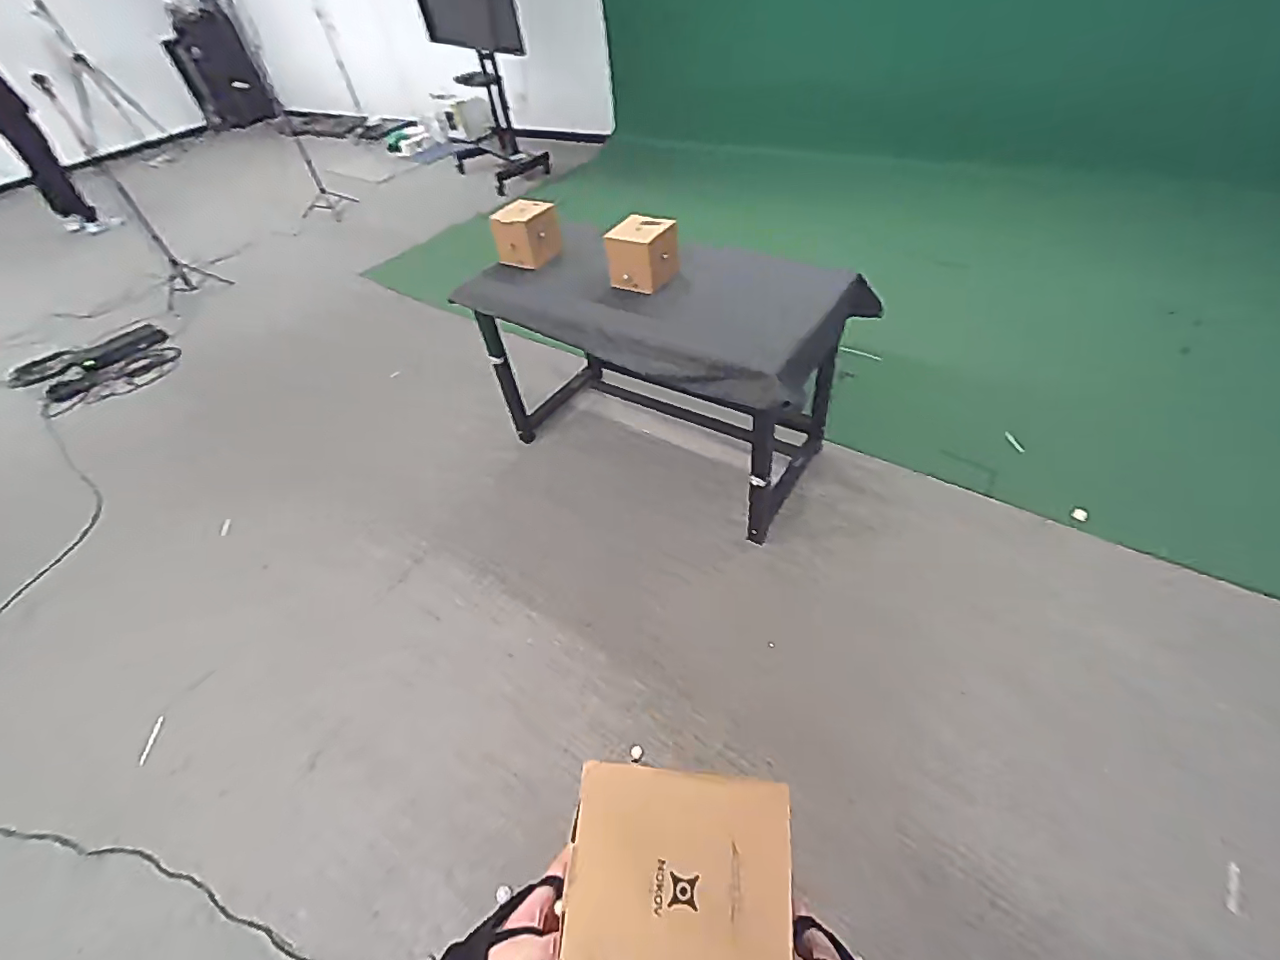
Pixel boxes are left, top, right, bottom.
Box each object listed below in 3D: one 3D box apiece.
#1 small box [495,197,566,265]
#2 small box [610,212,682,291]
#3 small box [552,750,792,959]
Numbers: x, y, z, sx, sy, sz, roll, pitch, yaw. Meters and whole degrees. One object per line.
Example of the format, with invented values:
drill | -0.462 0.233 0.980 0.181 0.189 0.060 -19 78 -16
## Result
small box | -0.389 -0.903 1.967 0.168 0.176 0.179 20 54 25
small box | 0.025 -0.737 1.741 0.168 0.176 0.179 22 55 27
small box | 0.030 0.342 0.485 0.179 0.176 0.168 5 65 3
